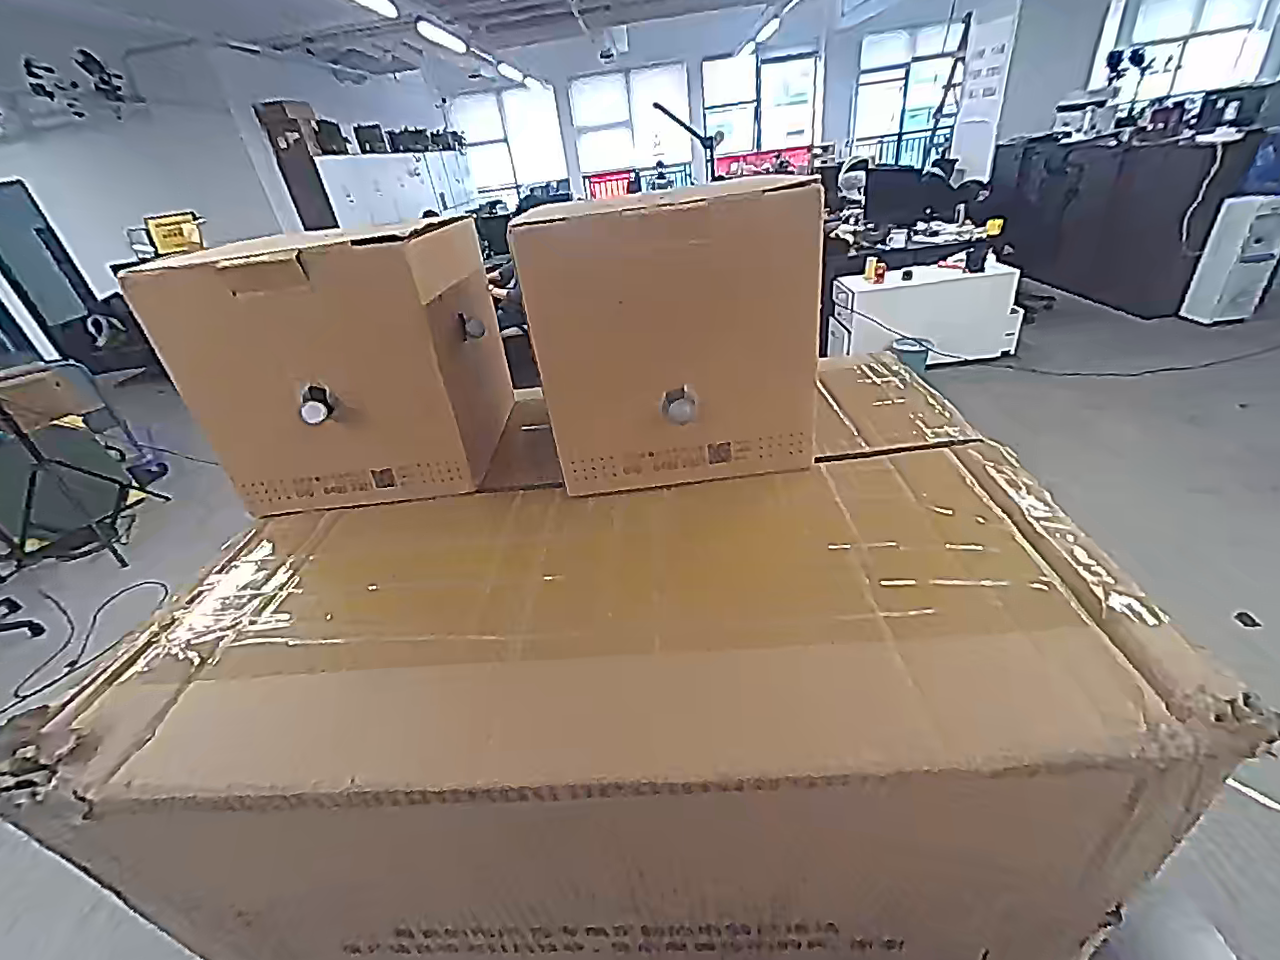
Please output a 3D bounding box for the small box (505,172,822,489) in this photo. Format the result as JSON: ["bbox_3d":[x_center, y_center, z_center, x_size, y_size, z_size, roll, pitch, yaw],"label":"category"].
[{"bbox_3d":[0.019,-0.112,0.385,0.168,0.176,0.179,-7,30,3],"label":"small box"}]

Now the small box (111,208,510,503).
[{"bbox_3d":[-0.206,-0.093,0.408,0.168,0.176,0.179,-7,31,1],"label":"small box"}]
